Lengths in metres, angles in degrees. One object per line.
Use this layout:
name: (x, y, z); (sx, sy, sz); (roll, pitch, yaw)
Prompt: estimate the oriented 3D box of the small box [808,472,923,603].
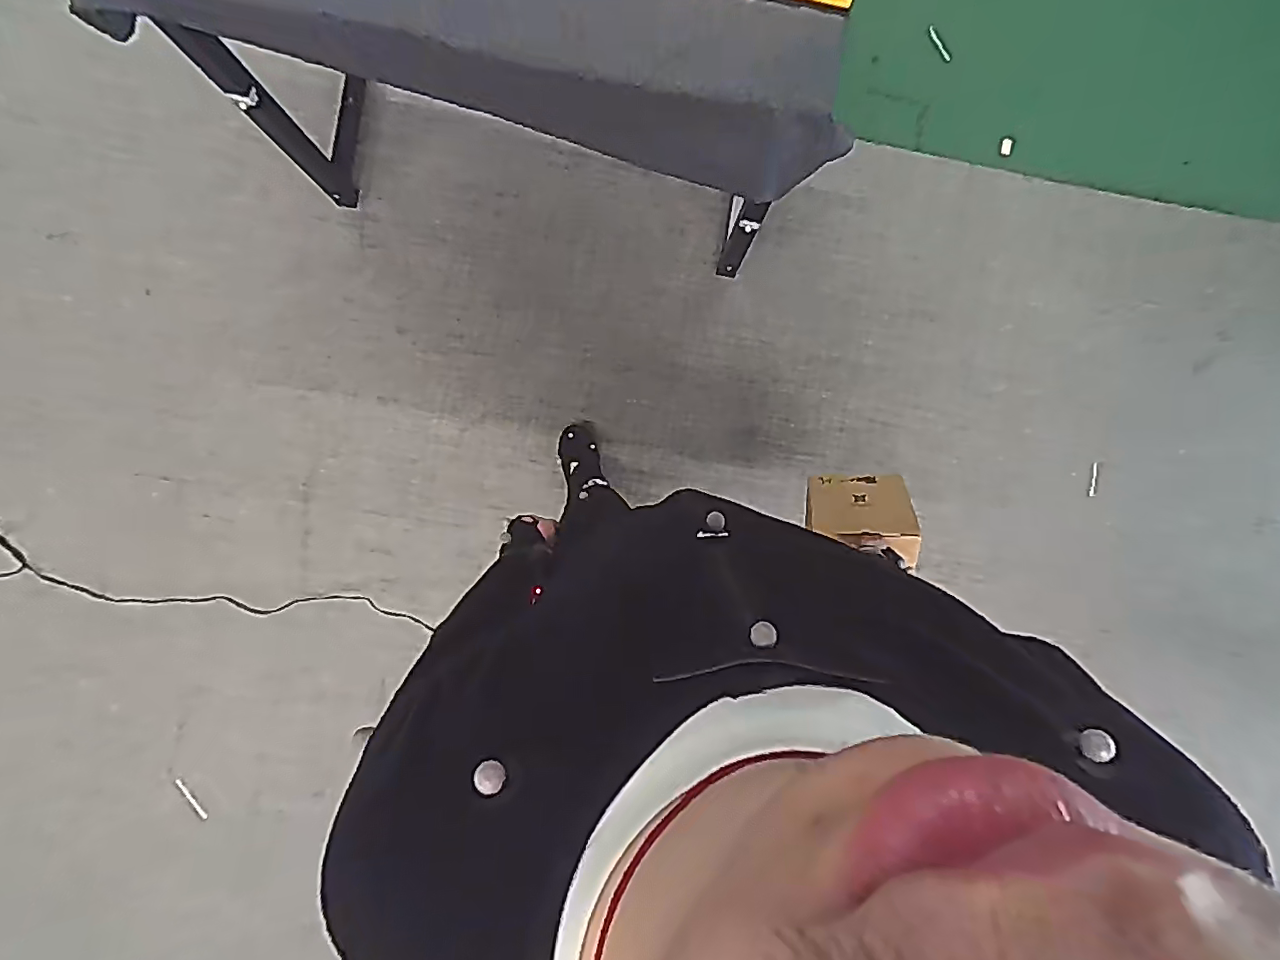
small box: (0.396, 0.106, 0.973); (0.168, 0.179, 0.176); (-3, 125, 14)
